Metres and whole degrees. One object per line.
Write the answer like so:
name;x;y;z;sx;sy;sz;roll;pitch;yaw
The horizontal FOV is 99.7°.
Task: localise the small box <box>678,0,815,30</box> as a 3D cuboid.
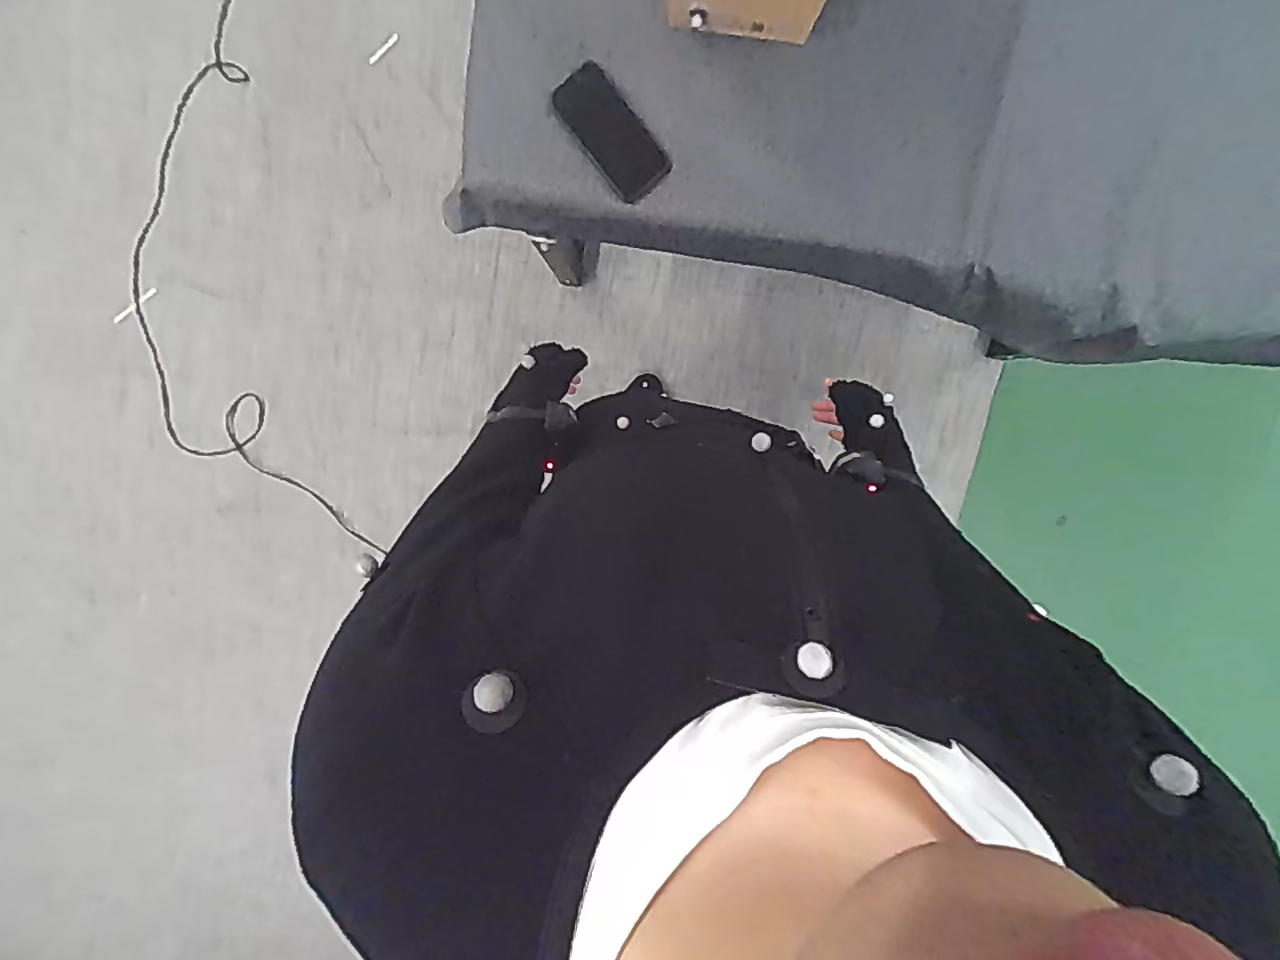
small box;0.123;-0.605;0.544;0.168;0.176;0.179;6;99;-3
